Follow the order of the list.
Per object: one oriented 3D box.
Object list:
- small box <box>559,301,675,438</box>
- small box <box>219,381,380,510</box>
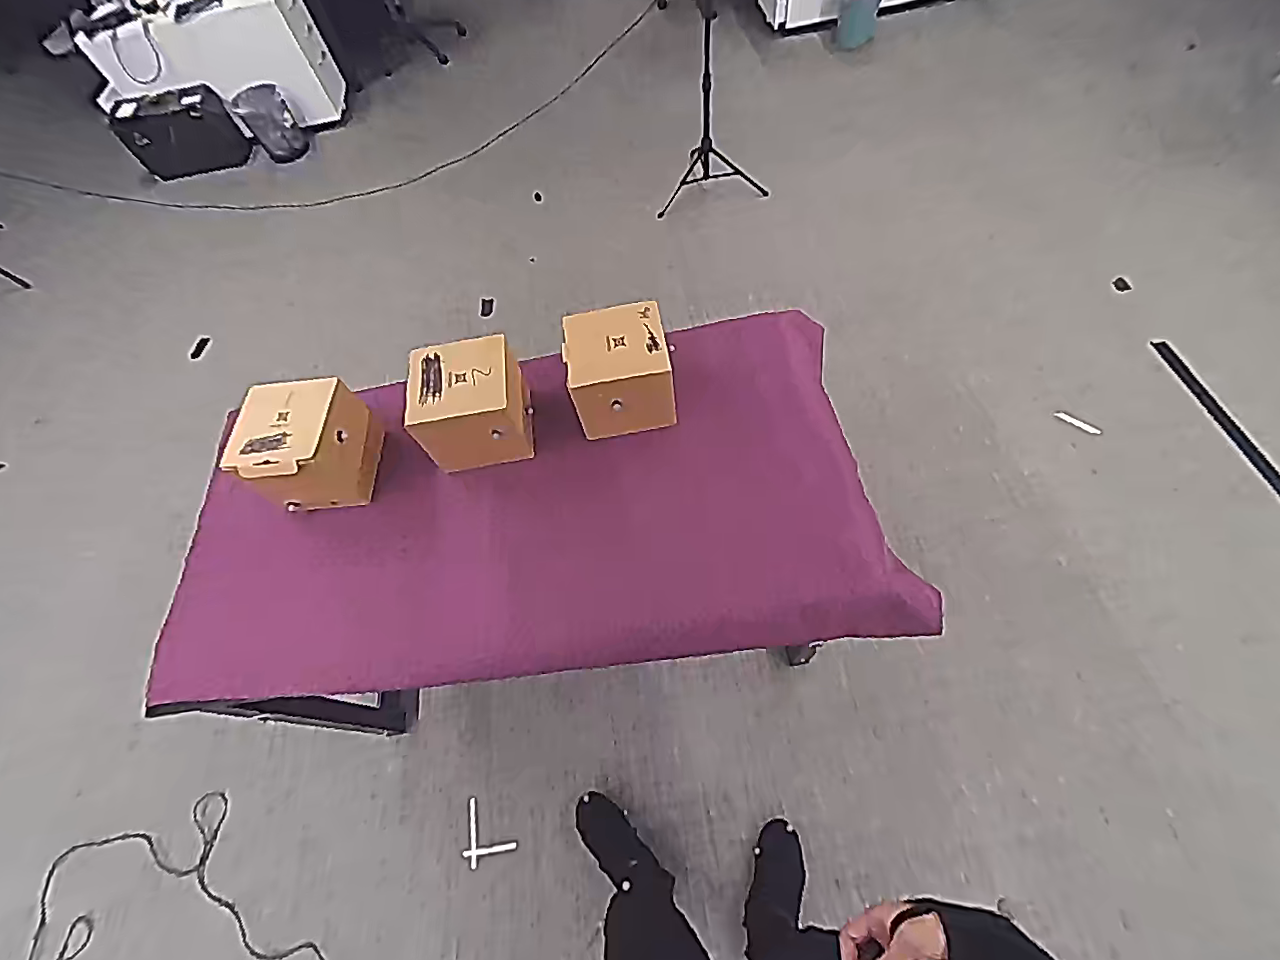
[{"bbox_3d":[-0.039,-0.194,0.991,0.179,0.176,0.168,-10,63,2],"label":"small box"},{"bbox_3d":[-0.602,-0.054,0.984,0.168,0.176,0.179,-5,61,4],"label":"small box"}]
